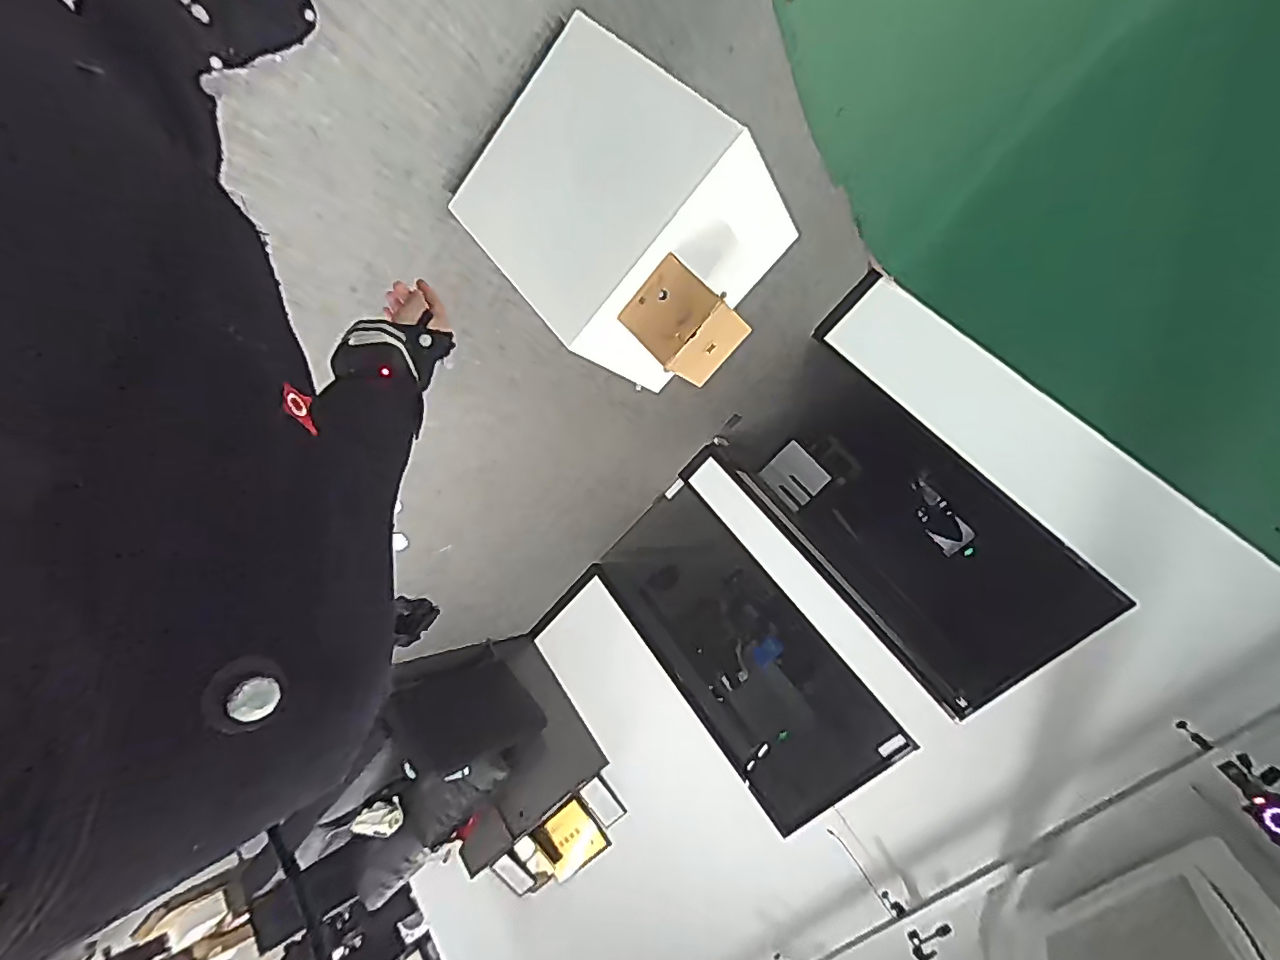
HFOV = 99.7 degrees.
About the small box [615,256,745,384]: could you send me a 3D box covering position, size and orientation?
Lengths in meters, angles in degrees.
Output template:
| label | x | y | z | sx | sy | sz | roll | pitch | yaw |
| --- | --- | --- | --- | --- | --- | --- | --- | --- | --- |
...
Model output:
| label | x | y | z | sx | sy | sz | roll | pitch | yaw |
| --- | --- | --- | --- | --- | --- | --- | --- | --- | --- |
| small box | 0.082 | -0.331 | 1.126 | 0.168 | 0.176 | 0.179 | -47 | 156 | 19 |
